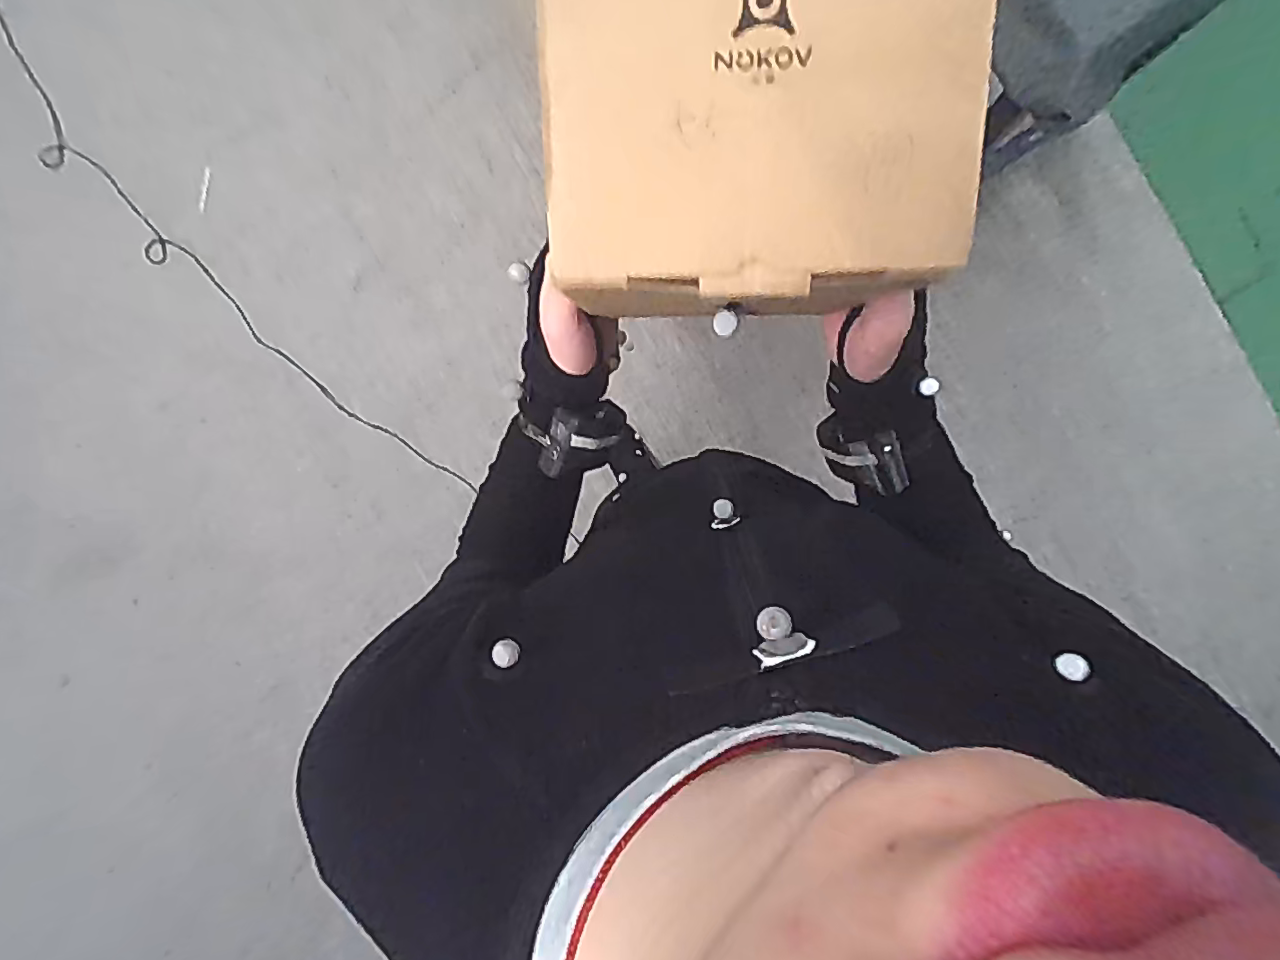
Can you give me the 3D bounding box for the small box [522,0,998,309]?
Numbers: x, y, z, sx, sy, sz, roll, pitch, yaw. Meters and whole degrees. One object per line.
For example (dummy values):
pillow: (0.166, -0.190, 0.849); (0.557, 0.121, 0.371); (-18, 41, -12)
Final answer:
small box: (0.042, -0.177, 0.265); (0.168, 0.176, 0.179); (-1, 105, 0)
